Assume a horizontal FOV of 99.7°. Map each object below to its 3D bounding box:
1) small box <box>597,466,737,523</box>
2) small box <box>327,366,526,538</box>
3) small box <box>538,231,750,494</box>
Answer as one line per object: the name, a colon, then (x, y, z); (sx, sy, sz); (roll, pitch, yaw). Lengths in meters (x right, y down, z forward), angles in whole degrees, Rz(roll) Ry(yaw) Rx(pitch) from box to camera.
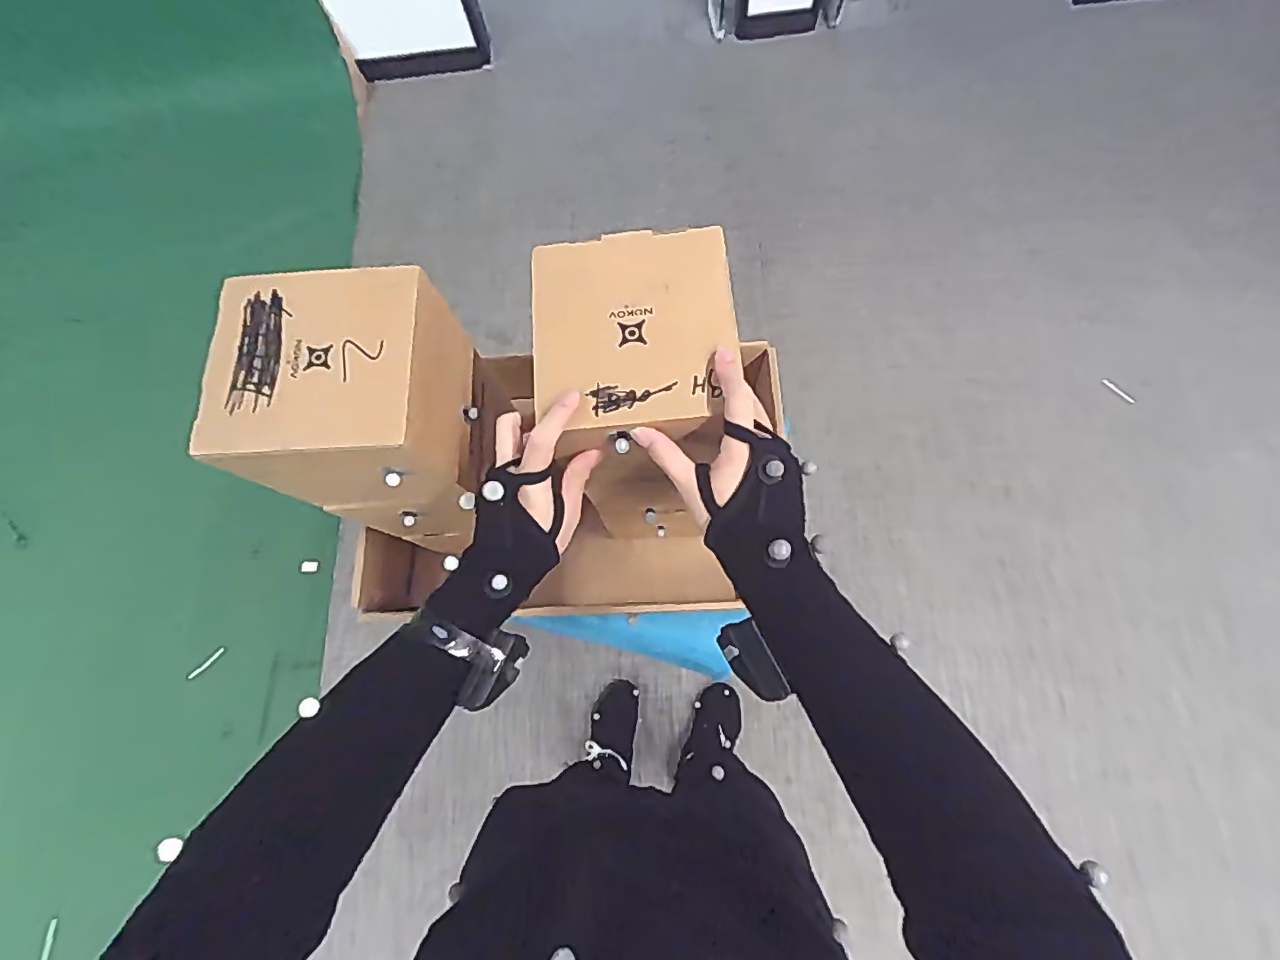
small box: (0.024, -0.054, 0.669); (0.168, 0.176, 0.179); (-5, 73, 4)
small box: (-0.252, -0.025, 0.679); (0.179, 0.176, 0.168); (-4, 74, 2)
small box: (0.005, -0.099, 0.513); (0.168, 0.176, 0.179); (-6, 71, 4)
